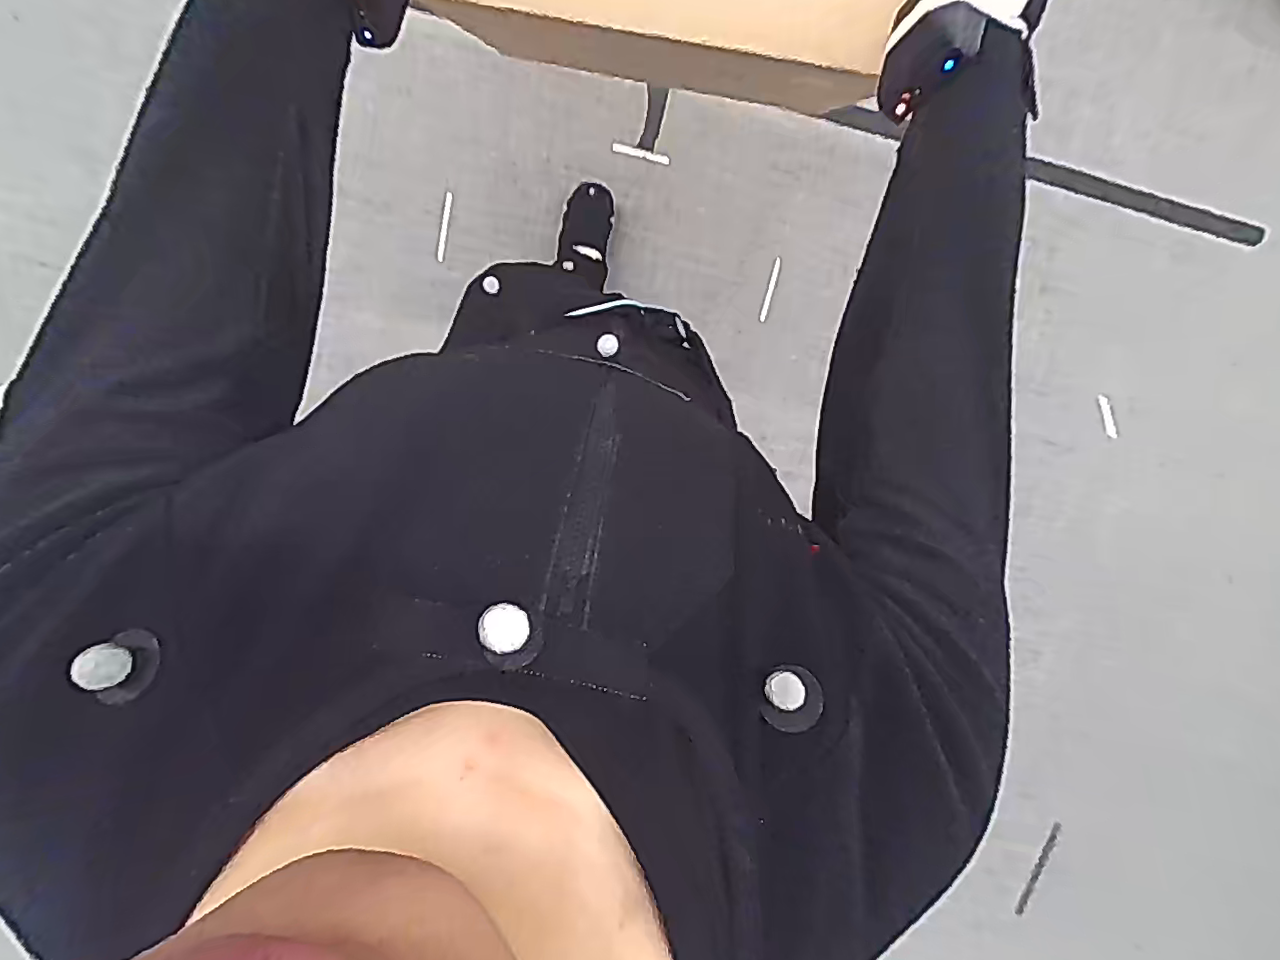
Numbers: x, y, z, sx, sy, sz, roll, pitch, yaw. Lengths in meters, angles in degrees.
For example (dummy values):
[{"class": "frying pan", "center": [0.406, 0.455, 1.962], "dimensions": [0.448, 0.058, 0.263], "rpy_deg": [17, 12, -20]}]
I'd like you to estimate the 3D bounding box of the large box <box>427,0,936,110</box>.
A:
[{"class": "large box", "center": [0.044, -0.551, 0.477], "dimensions": [0.408, 0.320, 0.320], "rpy_deg": [8, 121, -3]}]
